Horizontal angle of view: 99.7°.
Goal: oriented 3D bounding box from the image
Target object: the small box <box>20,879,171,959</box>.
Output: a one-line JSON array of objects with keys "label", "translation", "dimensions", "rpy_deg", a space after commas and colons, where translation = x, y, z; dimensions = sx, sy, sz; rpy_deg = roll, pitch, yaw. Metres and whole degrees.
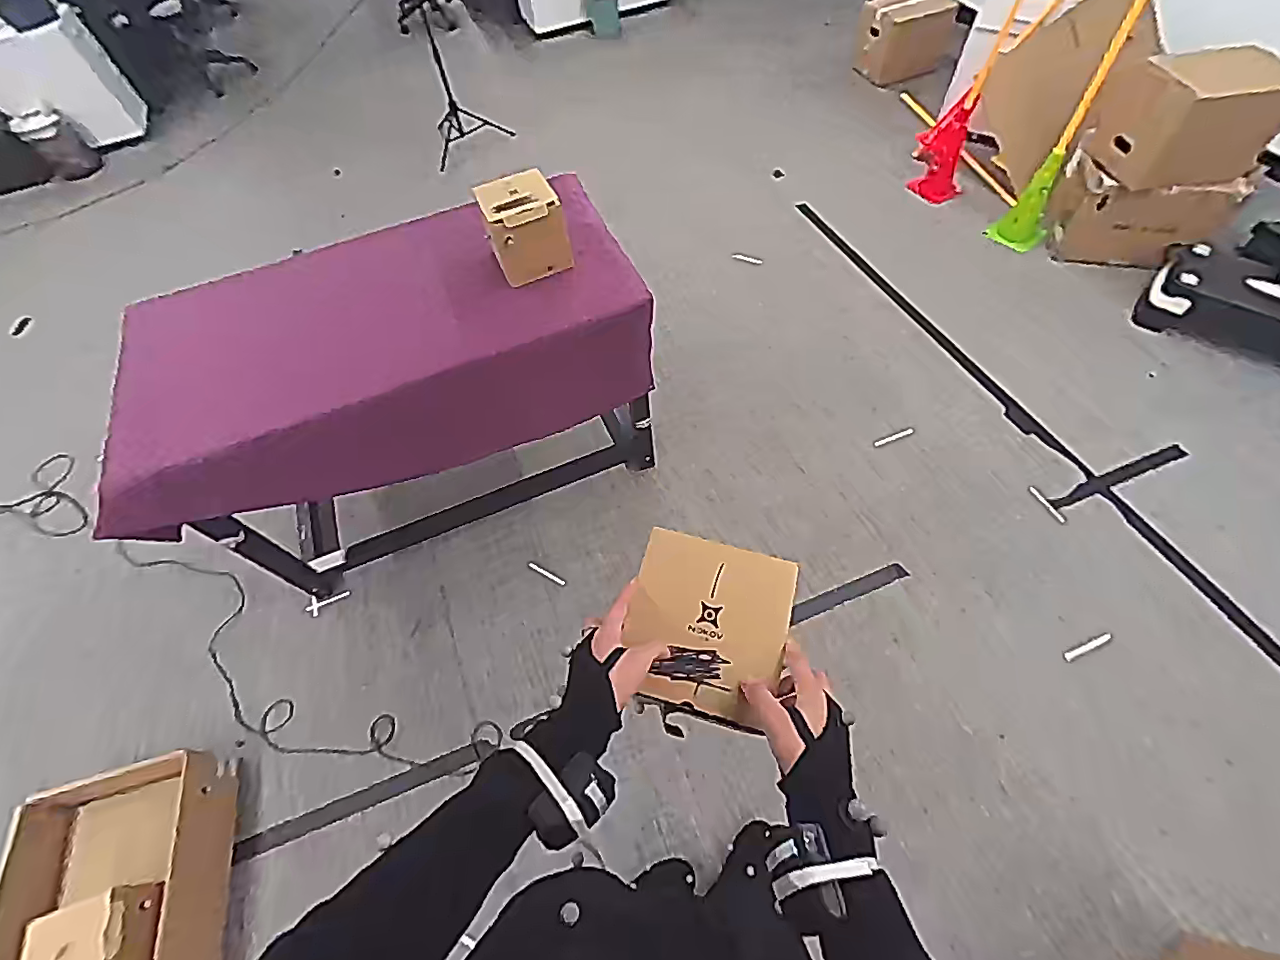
[{"label": "small box", "translation": [-1.186, 1.008, 1.187], "dimensions": [0.179, 0.176, 0.168], "rpy_deg": [-20, 57, -8]}]

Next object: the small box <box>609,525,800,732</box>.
[{"label": "small box", "translation": [0.073, 0.178, 0.628], "dimensions": [0.168, 0.176, 0.179], "rpy_deg": [14, 66, 8]}]
